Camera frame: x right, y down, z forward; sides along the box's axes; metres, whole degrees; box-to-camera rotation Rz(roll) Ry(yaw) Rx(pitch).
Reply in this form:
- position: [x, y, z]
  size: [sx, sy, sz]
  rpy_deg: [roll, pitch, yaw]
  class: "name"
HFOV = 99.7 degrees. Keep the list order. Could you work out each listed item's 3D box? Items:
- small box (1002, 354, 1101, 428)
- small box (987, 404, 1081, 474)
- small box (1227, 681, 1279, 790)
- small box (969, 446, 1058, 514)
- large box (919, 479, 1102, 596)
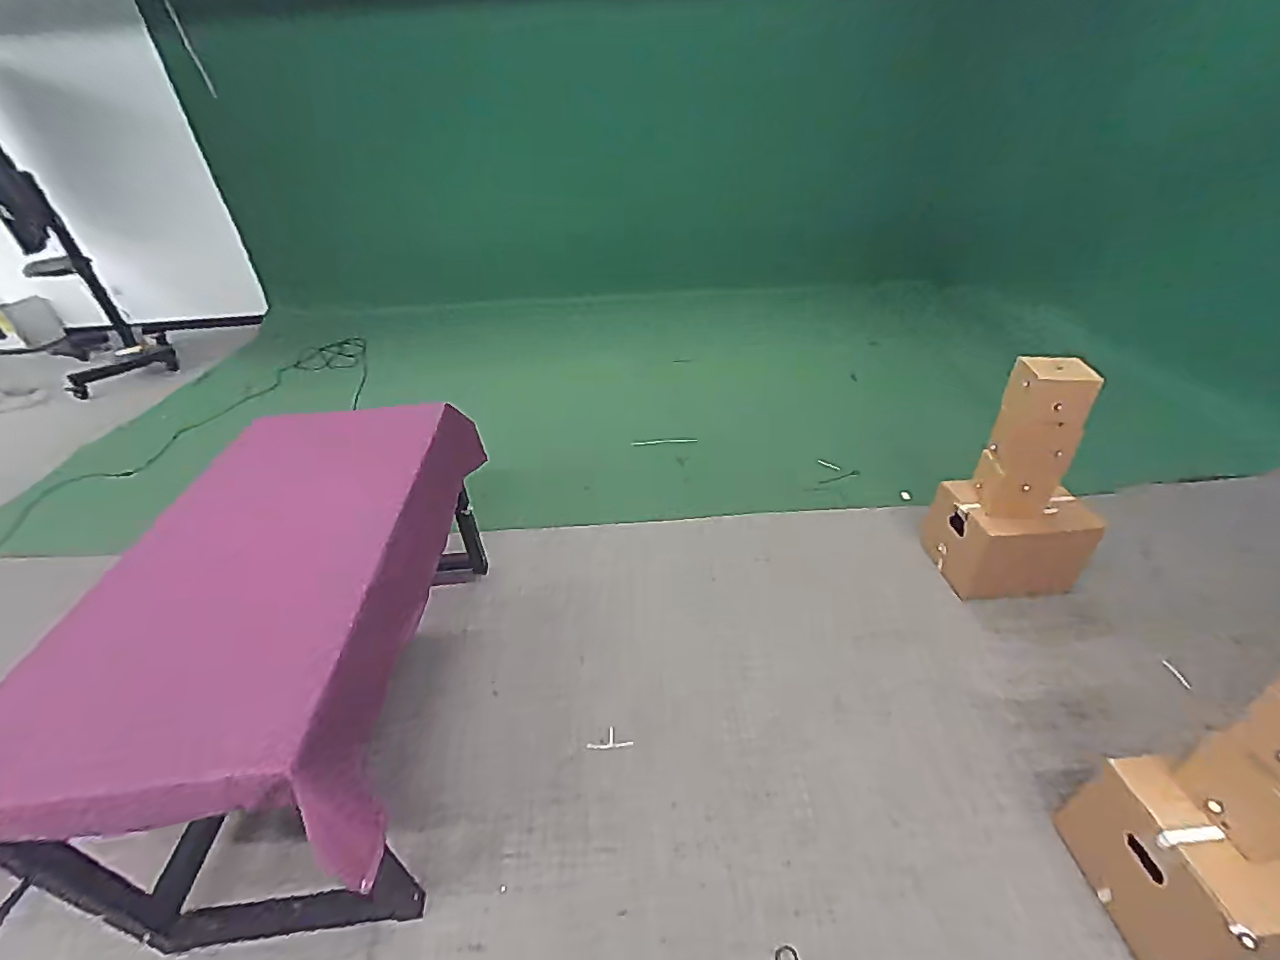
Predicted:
- position: [1.253, -0.273, 1.660]
  size: [0.168, 0.176, 0.179]
  rpy_deg: [5, 35, 11]
  class: "small box"
- position: [1.264, -0.134, 1.748]
  size: [0.179, 0.176, 0.168]
  rpy_deg: [4, 35, 11]
  class: "small box"
- position: [1.196, 0.456, 0.937]
  size: [0.179, 0.176, 0.168]
  rpy_deg: [-10, 35, -8]
  class: "small box"
- position: [1.261, 0.002, 1.838]
  size: [0.179, 0.176, 0.168]
  rpy_deg: [2, 36, 7]
  class: "small box"
- position: [1.322, 0.199, 1.976]
  size: [0.408, 0.320, 0.320]
  rpy_deg: [-3, 36, -2]
  class: "large box"
